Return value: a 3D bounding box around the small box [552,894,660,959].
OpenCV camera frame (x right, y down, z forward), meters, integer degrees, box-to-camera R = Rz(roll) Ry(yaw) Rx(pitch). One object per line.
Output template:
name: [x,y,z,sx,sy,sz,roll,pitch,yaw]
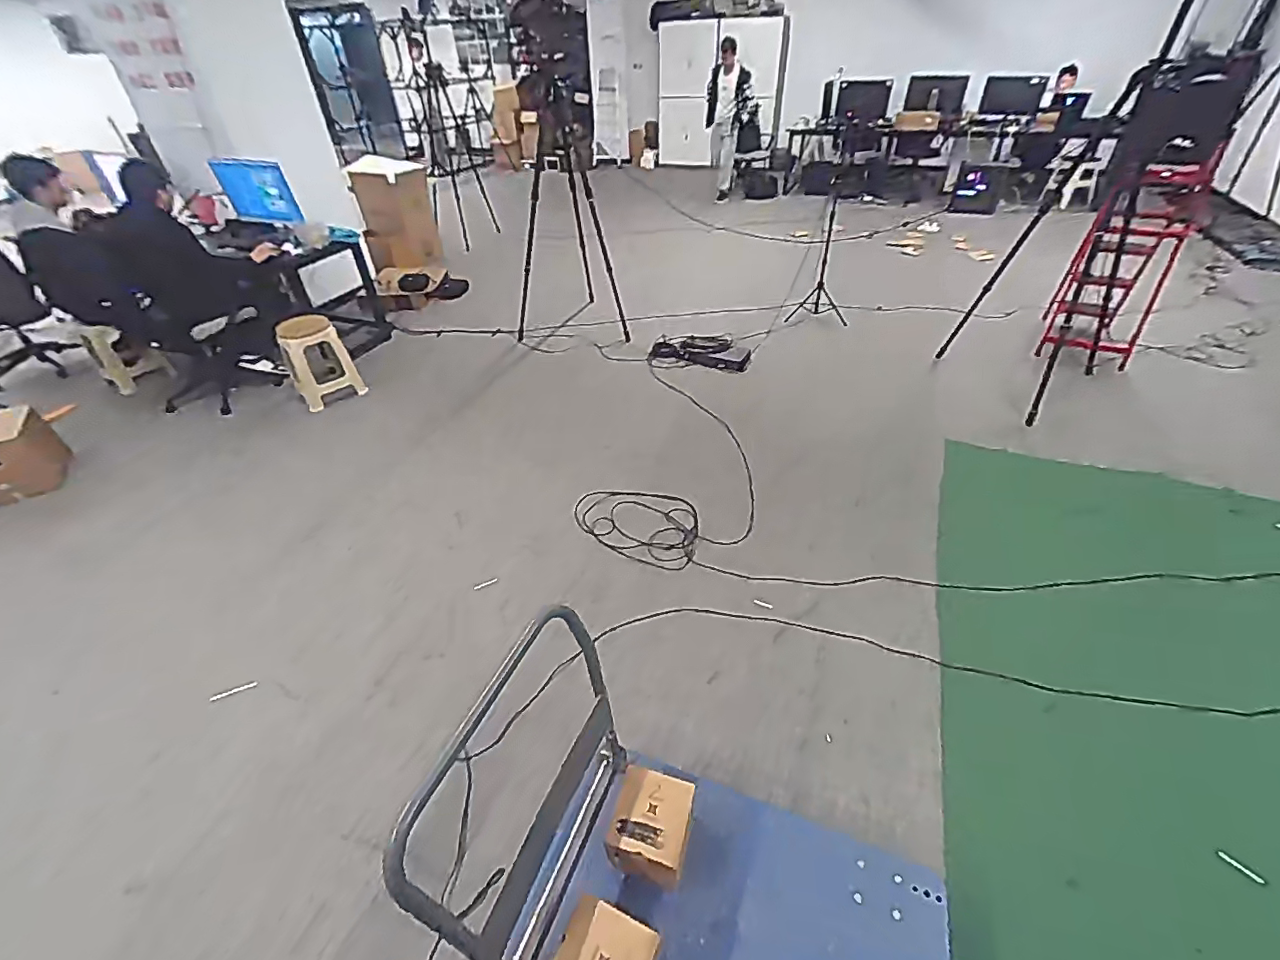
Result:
small box: [-0.070,0.967,1.059,0.179,0.176,0.168,15,43,20]
